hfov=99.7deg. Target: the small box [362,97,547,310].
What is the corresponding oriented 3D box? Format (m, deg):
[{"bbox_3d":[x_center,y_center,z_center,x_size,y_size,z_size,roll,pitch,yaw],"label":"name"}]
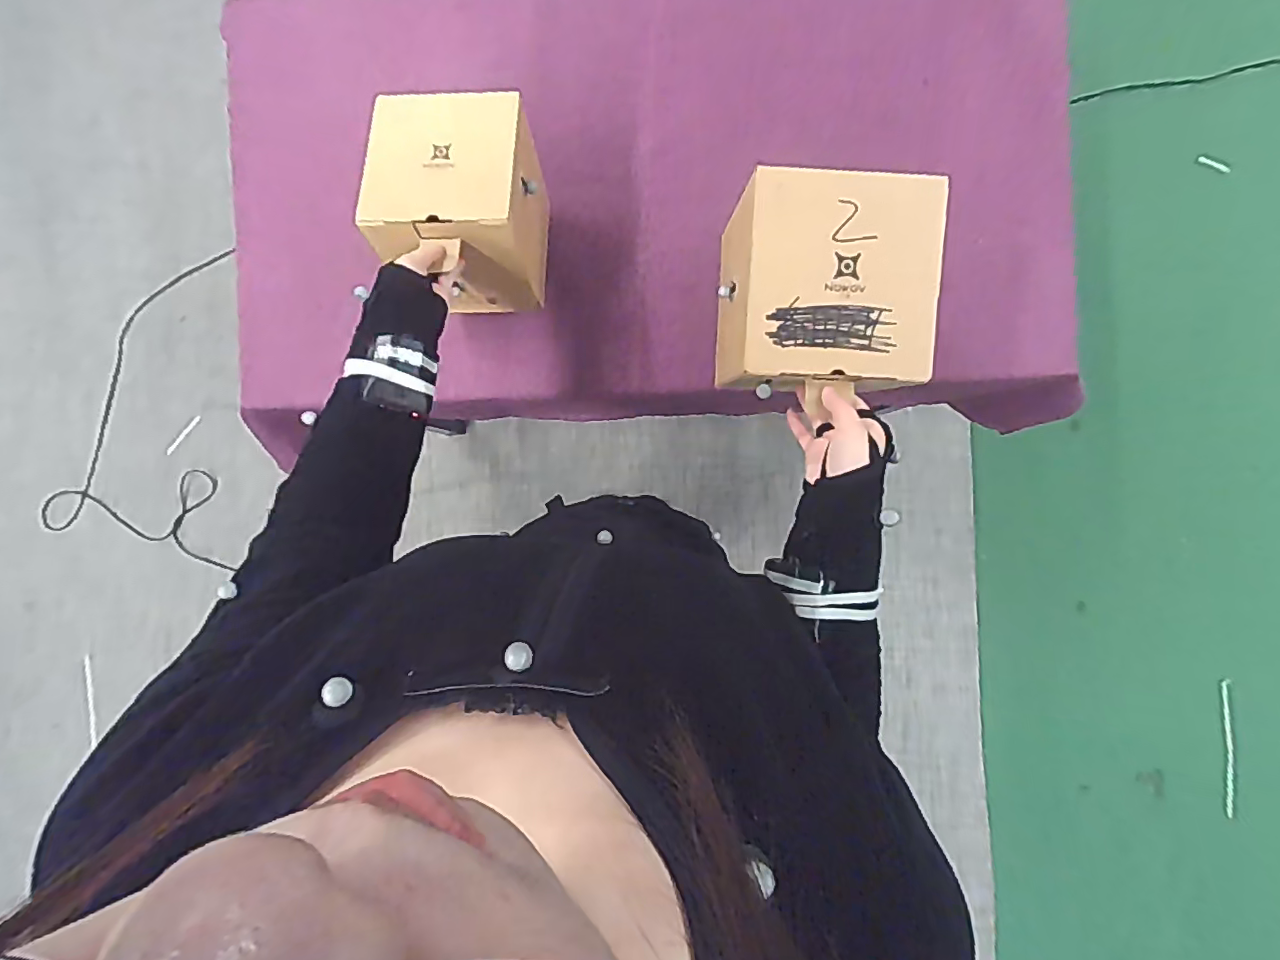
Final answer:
[{"bbox_3d":[-0.216,-0.338,0.680,0.168,0.176,0.179,0,75,2],"label":"small box"}]
